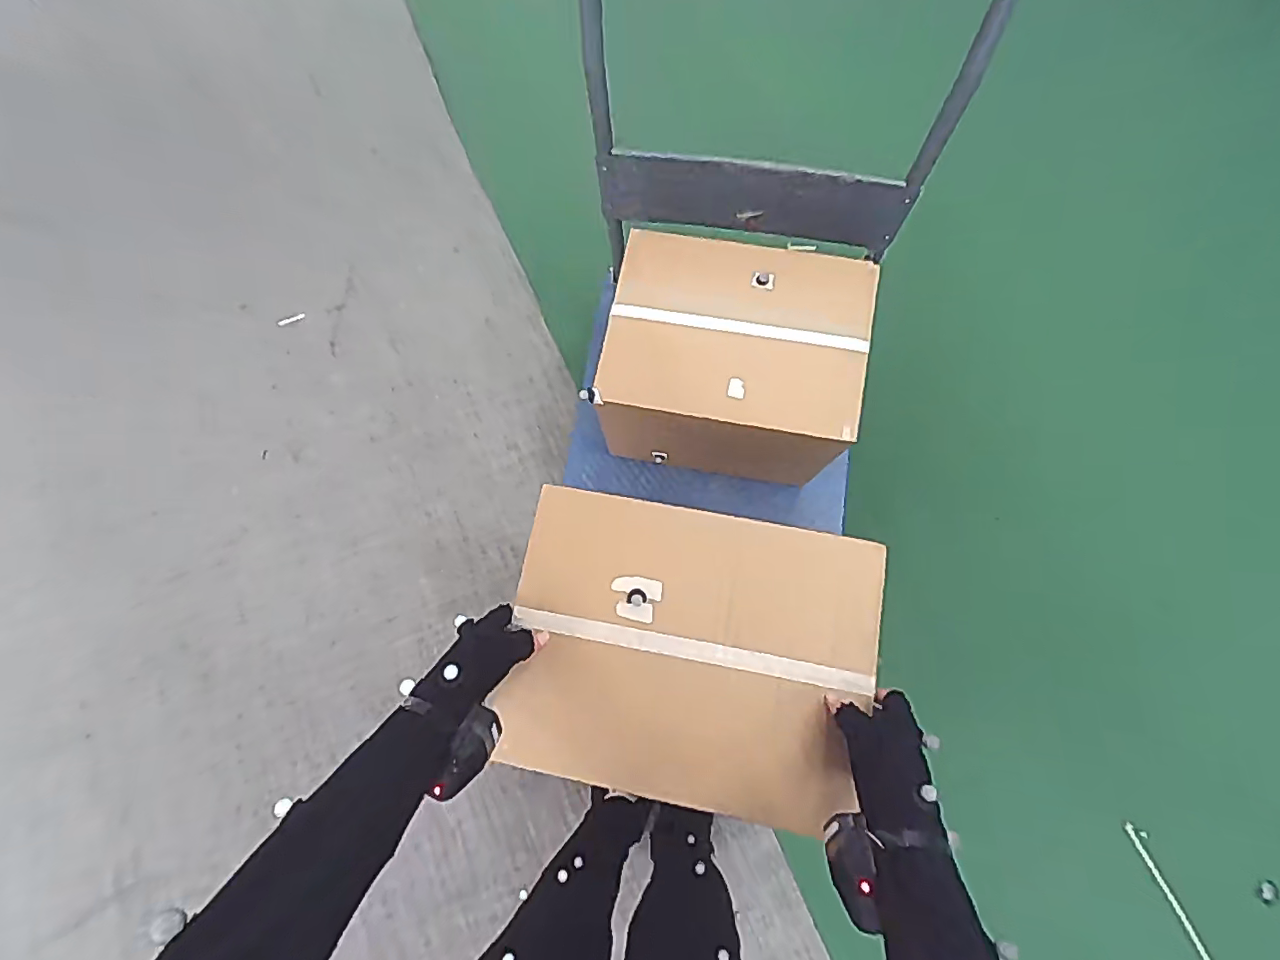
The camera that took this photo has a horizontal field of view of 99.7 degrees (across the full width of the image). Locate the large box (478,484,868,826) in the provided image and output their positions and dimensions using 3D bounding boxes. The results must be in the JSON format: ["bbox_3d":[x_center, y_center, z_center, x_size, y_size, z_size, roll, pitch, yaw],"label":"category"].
[{"bbox_3d":[0.053,0.210,0.751,0.408,0.320,0.320,10,79,7],"label":"large box"}]
